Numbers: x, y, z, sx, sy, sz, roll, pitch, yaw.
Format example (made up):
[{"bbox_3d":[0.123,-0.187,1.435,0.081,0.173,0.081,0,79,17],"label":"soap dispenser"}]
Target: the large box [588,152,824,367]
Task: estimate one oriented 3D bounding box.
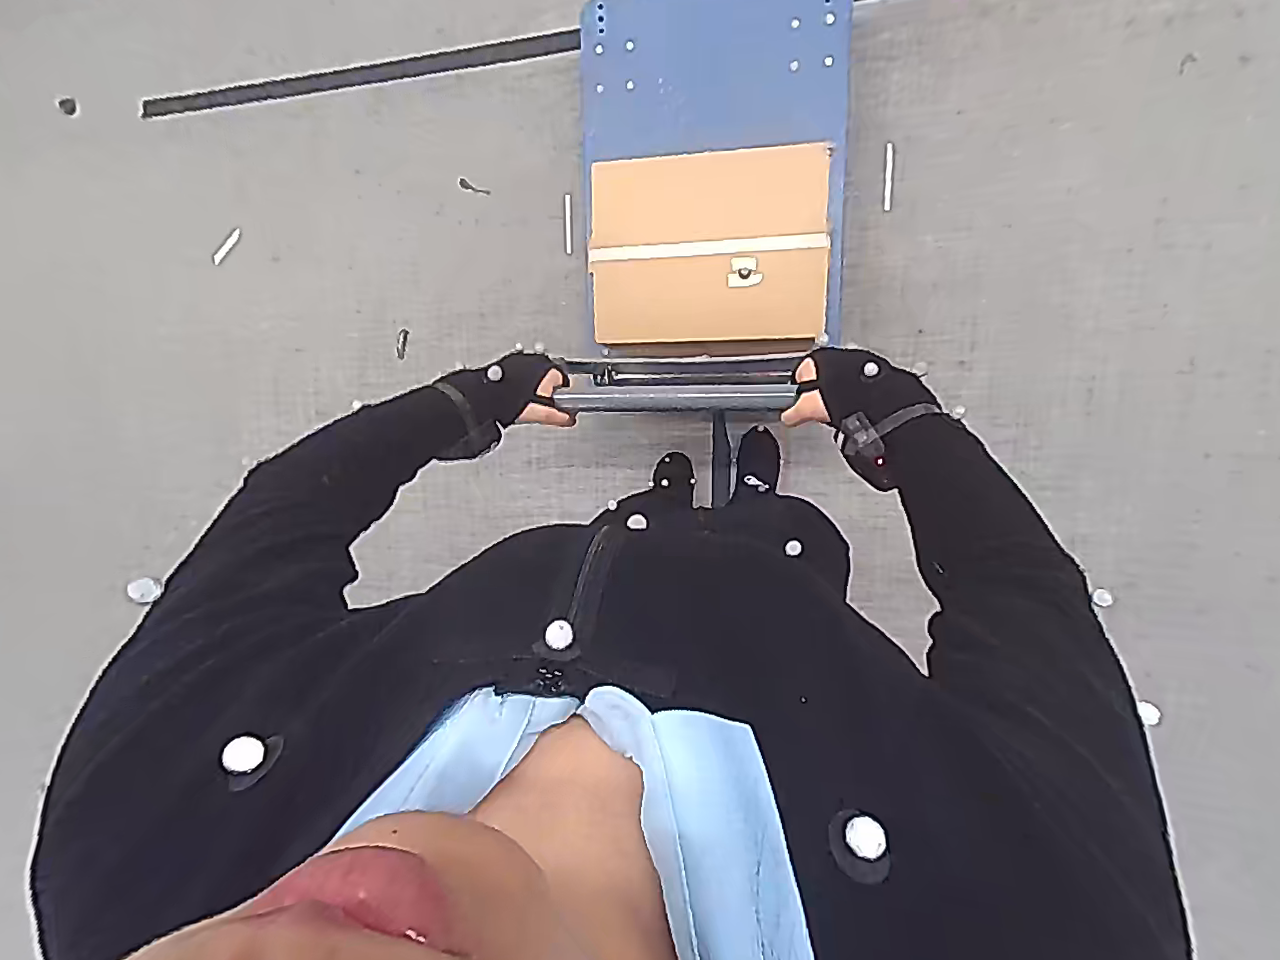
[{"bbox_3d":[0.131,-0.401,1.077,0.408,0.320,0.320,0,98,9],"label":"large box"}]
